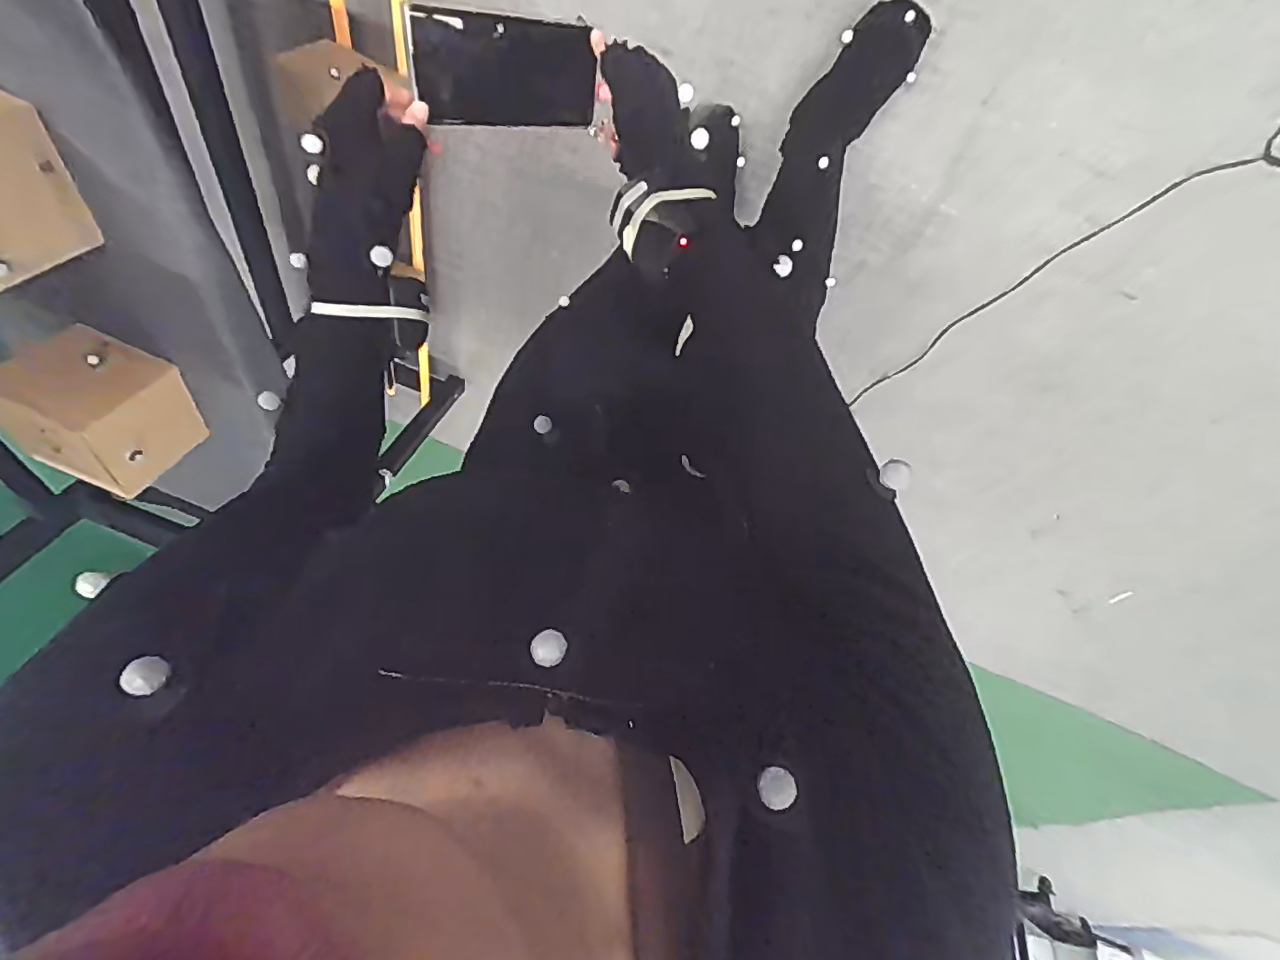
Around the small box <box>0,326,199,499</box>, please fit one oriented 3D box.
[{"bbox_3d":[-0.860,-0.107,0.860,0.168,0.176,0.179,24,139,-4],"label":"small box"}]

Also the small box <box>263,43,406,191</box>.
[{"bbox_3d":[-0.571,-0.704,1.044,0.179,0.176,0.168,24,139,-4],"label":"small box"}]
